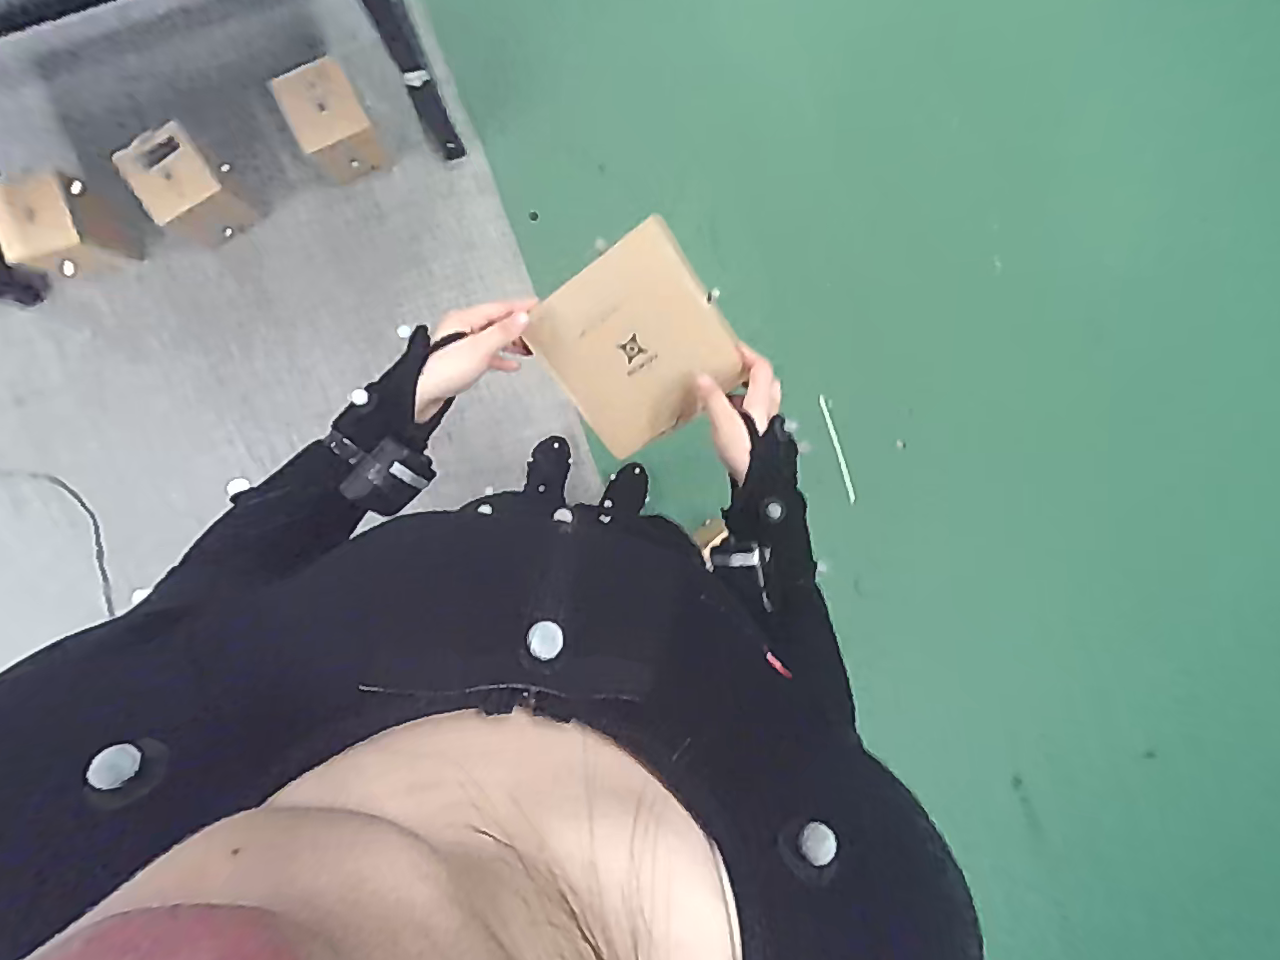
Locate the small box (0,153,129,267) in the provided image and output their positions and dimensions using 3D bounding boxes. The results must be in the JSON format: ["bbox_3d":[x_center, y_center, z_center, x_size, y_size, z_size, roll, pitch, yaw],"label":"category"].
[{"bbox_3d":[-1.357,-0.614,1.257,0.168,0.176,0.179,-16,95,-3],"label":"small box"}]

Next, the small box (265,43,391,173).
[{"bbox_3d":[-0.725,-0.864,1.281,0.168,0.176,0.179,-25,96,-3],"label":"small box"}]

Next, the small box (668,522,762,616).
[{"bbox_3d":[0.191,0.226,1.440,0.168,0.176,0.179,-36,97,-1],"label":"small box"}]
